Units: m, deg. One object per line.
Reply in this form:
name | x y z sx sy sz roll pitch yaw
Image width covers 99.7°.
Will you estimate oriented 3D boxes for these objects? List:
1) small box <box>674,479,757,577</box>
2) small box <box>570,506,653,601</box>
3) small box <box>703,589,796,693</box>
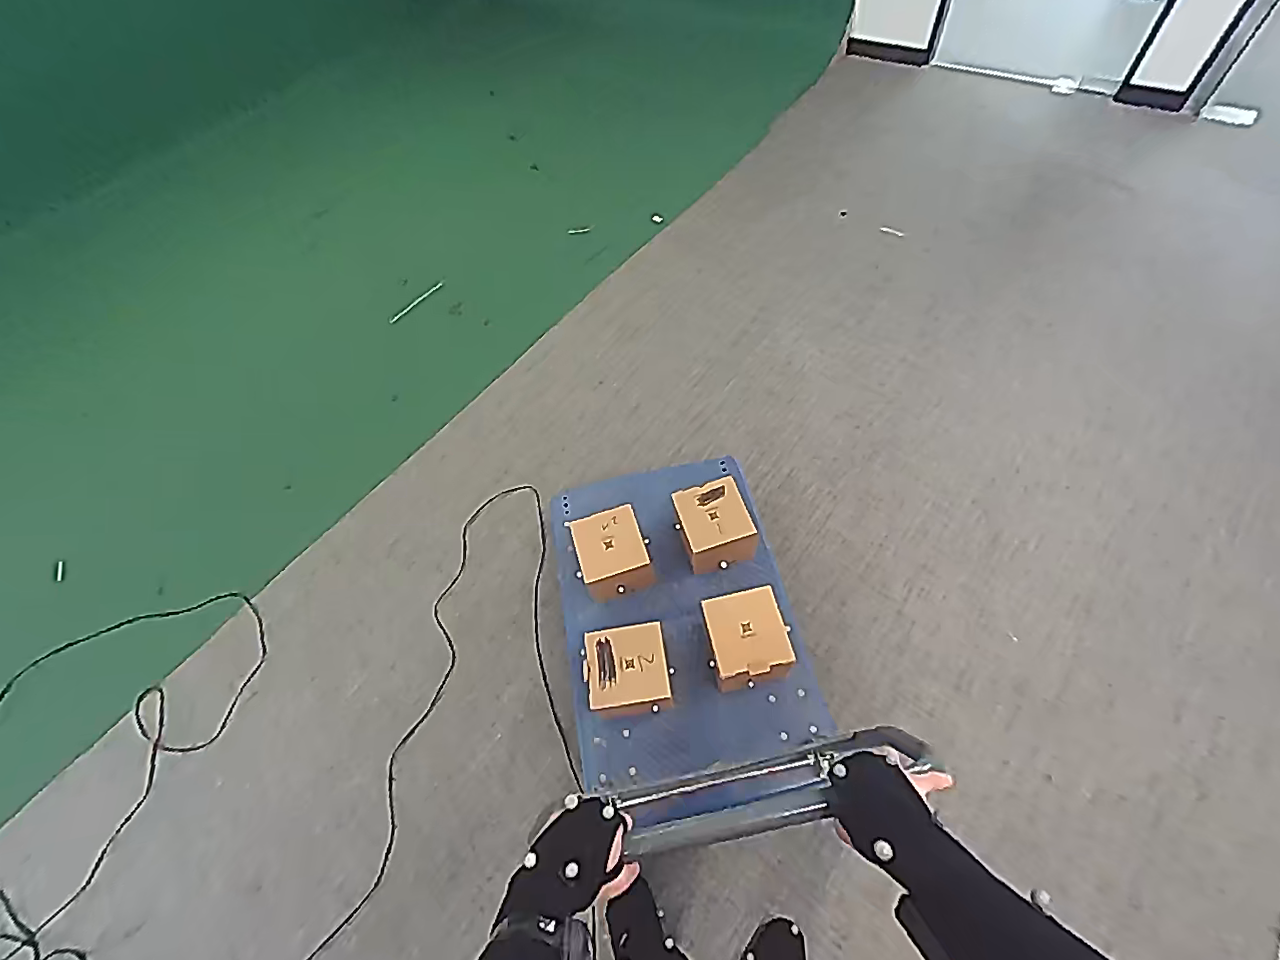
small box | 0.191 0.128 1.409 0.168 0.176 0.179 -17 59 -3
small box | -0.069 0.198 1.396 0.168 0.176 0.179 -16 59 -5
small box | 0.243 0.376 1.255 0.168 0.176 0.179 -12 59 -1
